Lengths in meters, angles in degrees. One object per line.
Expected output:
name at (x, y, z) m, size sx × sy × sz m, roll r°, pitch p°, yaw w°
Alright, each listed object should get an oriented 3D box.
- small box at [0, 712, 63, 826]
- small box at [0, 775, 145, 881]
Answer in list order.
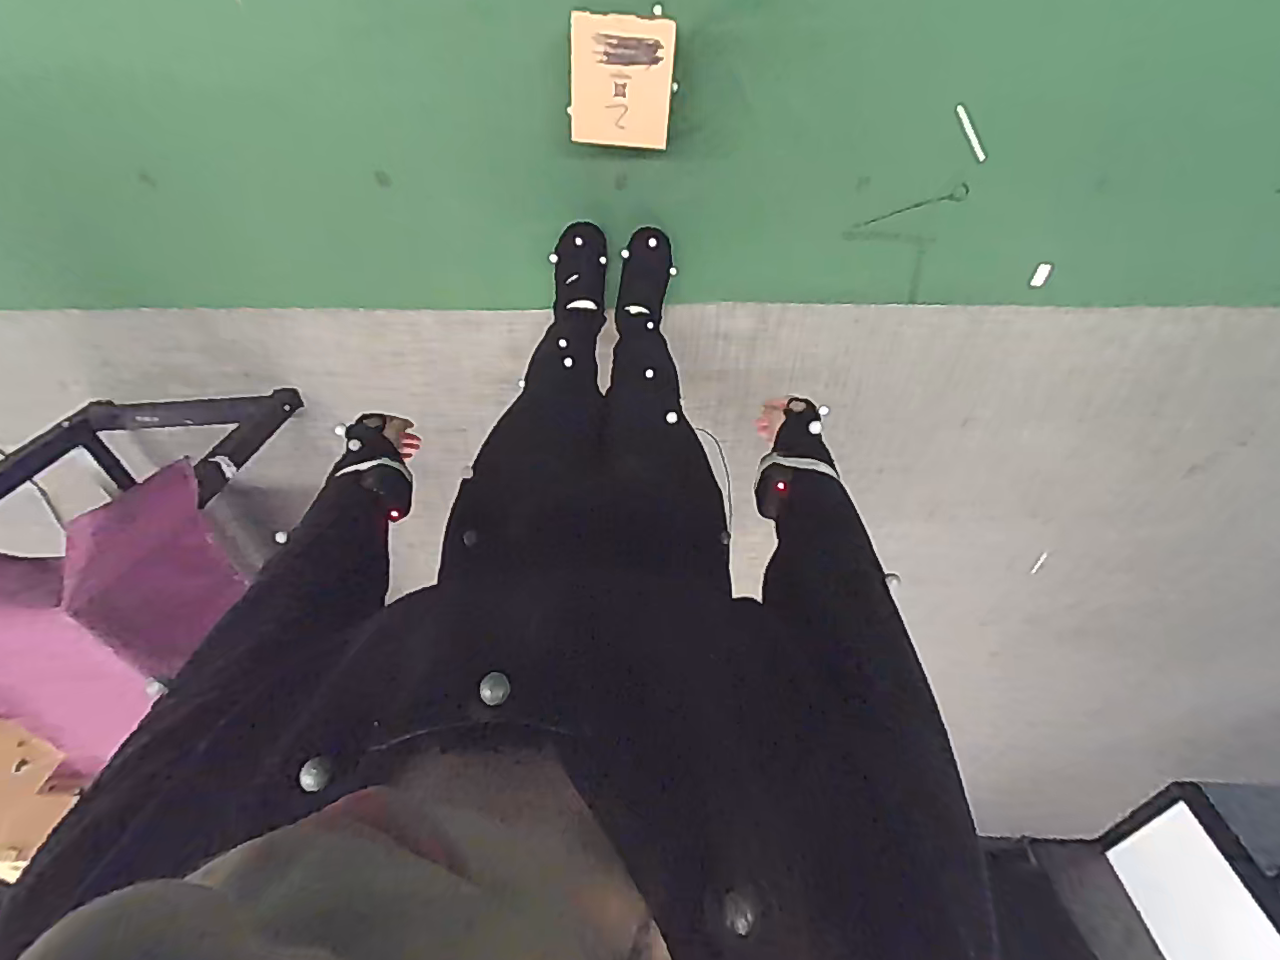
small box at (-1.343, 0.580, 1.073) m, size 0.179 × 0.176 × 0.168 m, roll -3°, pitch 129°, yaw 2°
small box at (-1.324, 0.801, 1.248) m, size 0.168 × 0.176 × 0.179 m, roll -1°, pitch 130°, yaw 2°
